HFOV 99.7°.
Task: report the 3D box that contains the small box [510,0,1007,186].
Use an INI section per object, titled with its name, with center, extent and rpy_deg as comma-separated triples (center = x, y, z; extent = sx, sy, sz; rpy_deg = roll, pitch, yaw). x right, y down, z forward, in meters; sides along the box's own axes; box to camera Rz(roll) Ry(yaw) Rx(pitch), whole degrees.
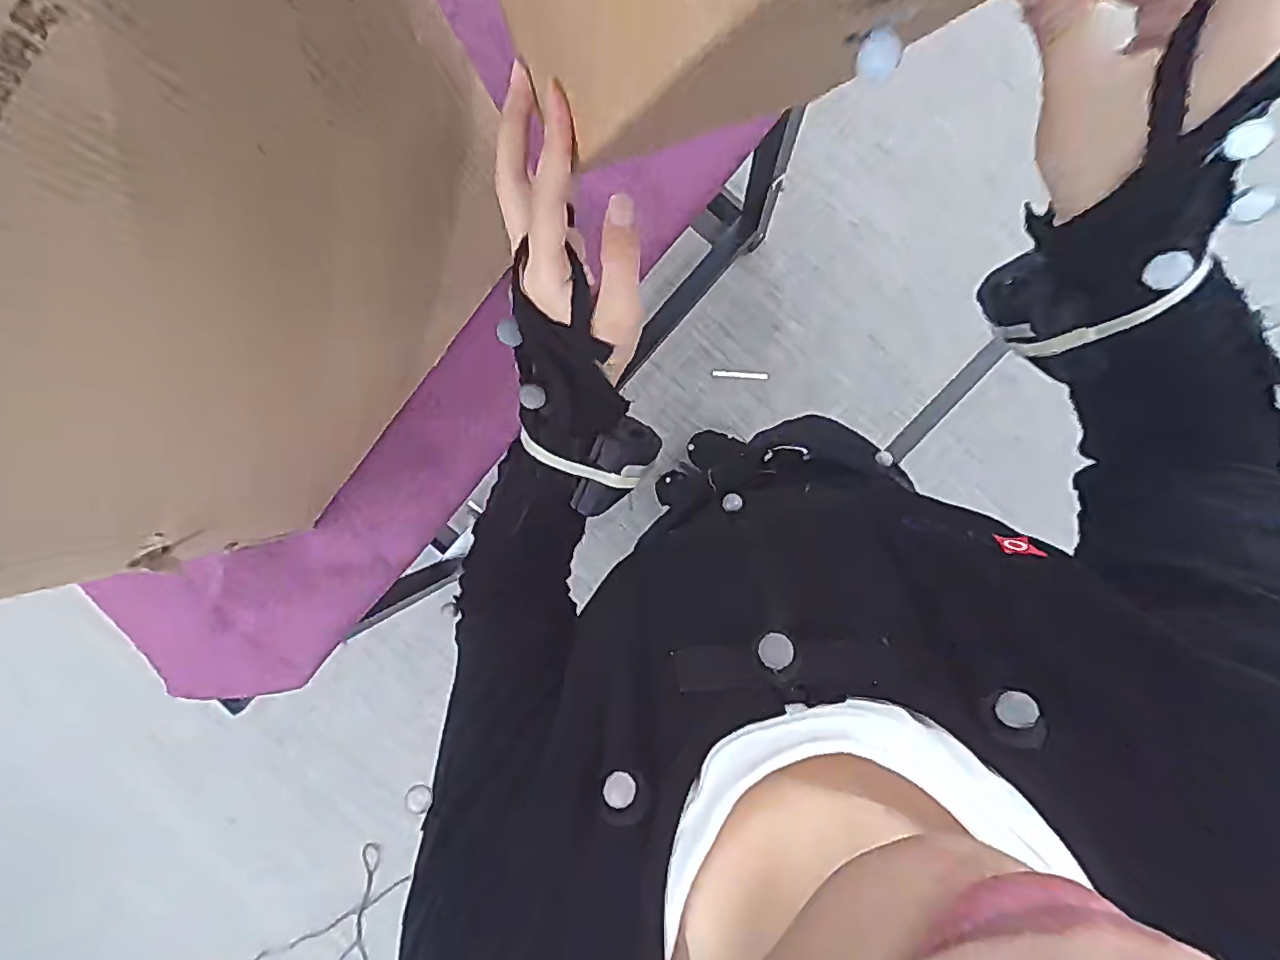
[small box]
center = 0.042, -0.241, 0.196
extent = 0.168, 0.176, 0.179
rpy_deg = -27, 112, -17
